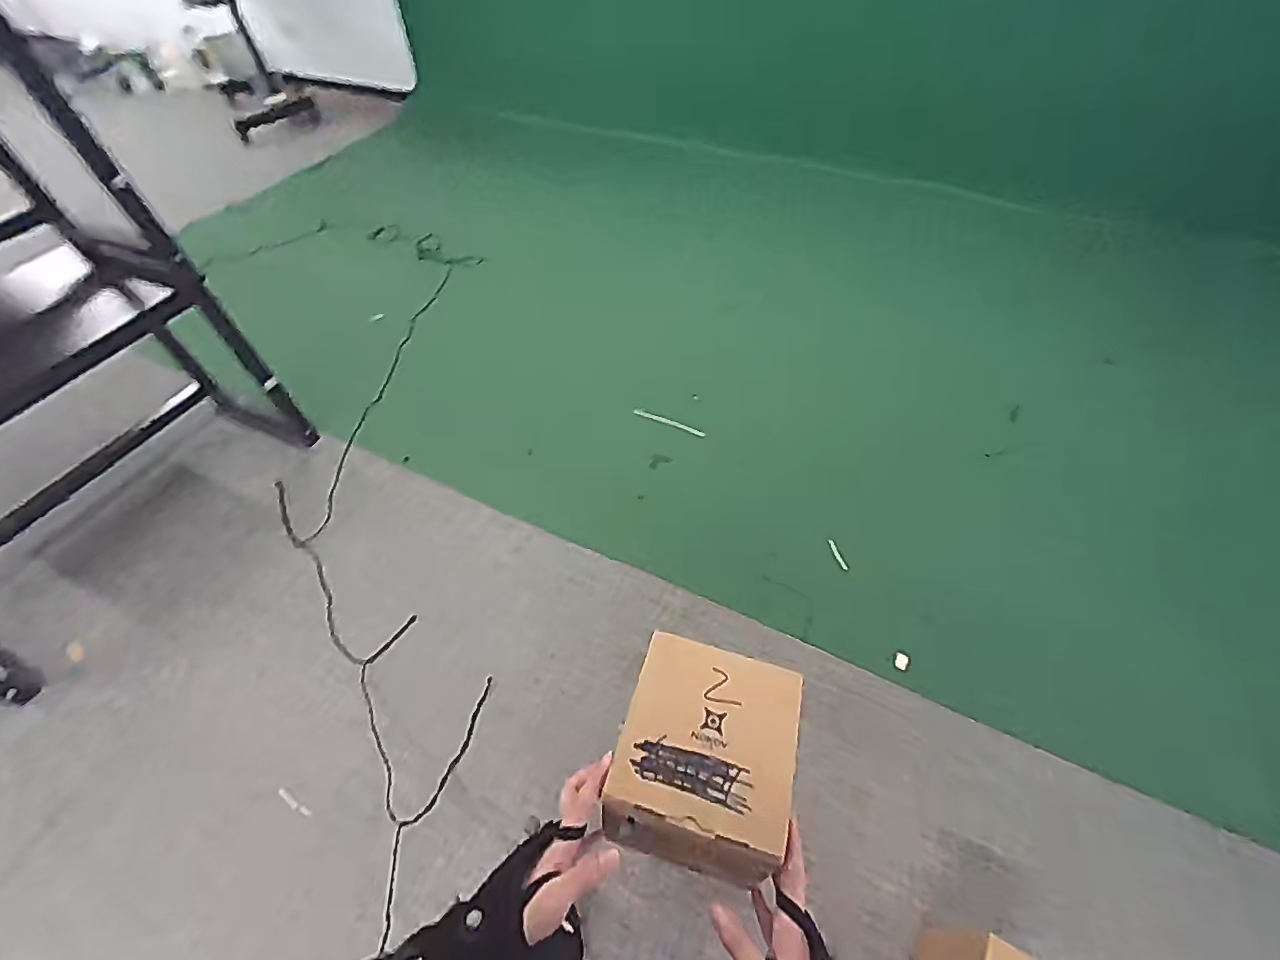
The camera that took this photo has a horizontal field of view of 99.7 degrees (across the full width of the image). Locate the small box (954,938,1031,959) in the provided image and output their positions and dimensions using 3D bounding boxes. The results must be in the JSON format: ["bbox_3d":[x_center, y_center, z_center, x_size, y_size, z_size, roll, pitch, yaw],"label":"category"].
[{"bbox_3d":[0.657,0.948,0.944,0.168,0.176,0.179,24,58,20],"label":"small box"}]
